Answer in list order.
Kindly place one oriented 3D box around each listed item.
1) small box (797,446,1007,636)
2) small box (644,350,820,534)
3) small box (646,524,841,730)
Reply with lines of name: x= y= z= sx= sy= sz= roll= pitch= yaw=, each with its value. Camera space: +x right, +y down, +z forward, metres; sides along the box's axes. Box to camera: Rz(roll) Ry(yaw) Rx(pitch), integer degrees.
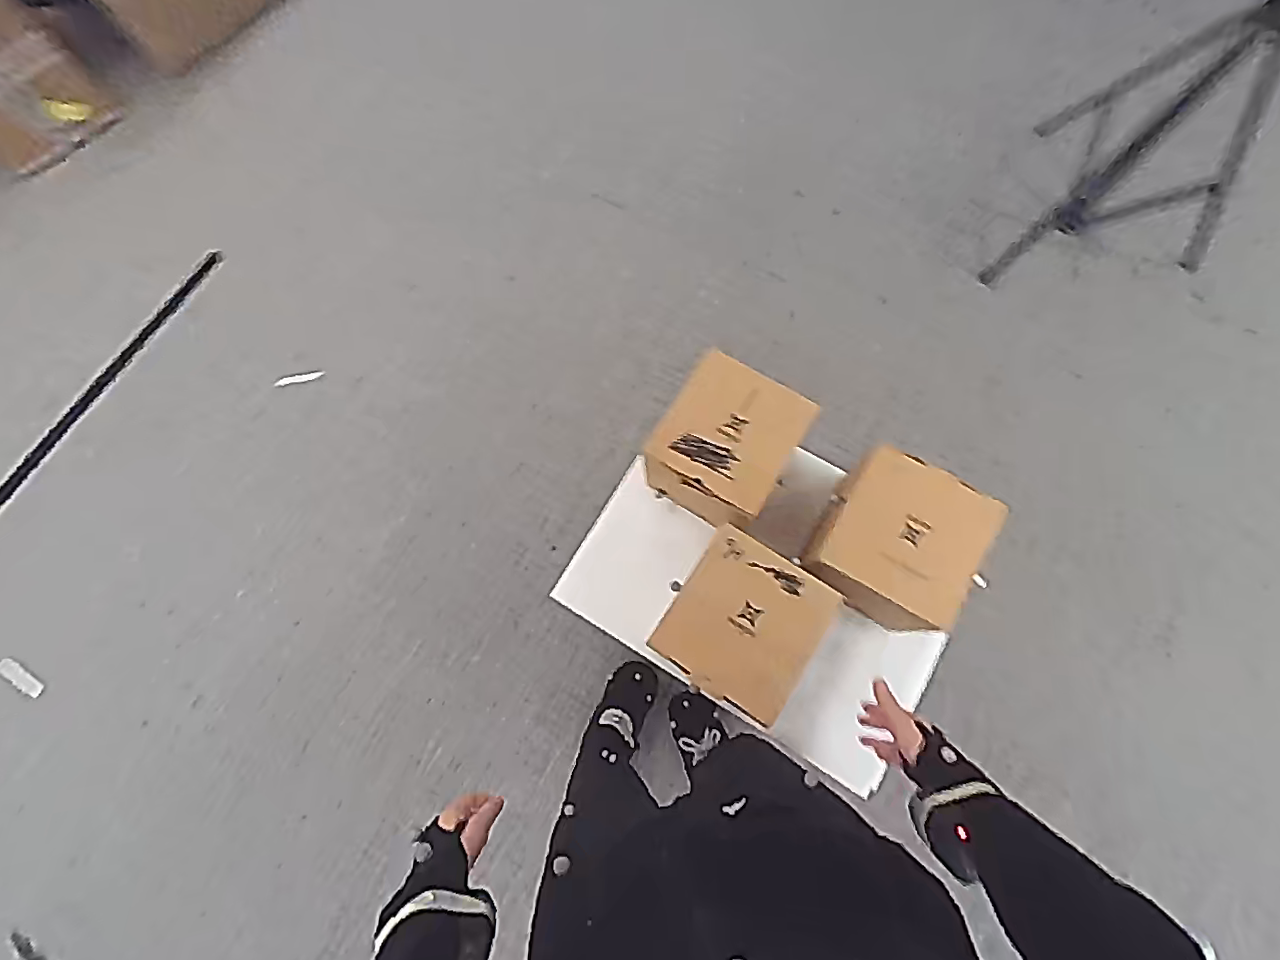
small box: x=0.331 y=0.087 z=0.721 sx=0.168 sy=0.176 sz=0.179 roll=31 pitch=79 yaw=12
small box: x=0.122 y=-0.041 z=0.765 sx=0.168 sy=0.176 sz=0.179 roll=32 pitch=78 yaw=10
small box: x=0.125 y=0.186 z=0.700 sx=0.168 sy=0.176 sz=0.179 roll=33 pitch=78 yaw=11
